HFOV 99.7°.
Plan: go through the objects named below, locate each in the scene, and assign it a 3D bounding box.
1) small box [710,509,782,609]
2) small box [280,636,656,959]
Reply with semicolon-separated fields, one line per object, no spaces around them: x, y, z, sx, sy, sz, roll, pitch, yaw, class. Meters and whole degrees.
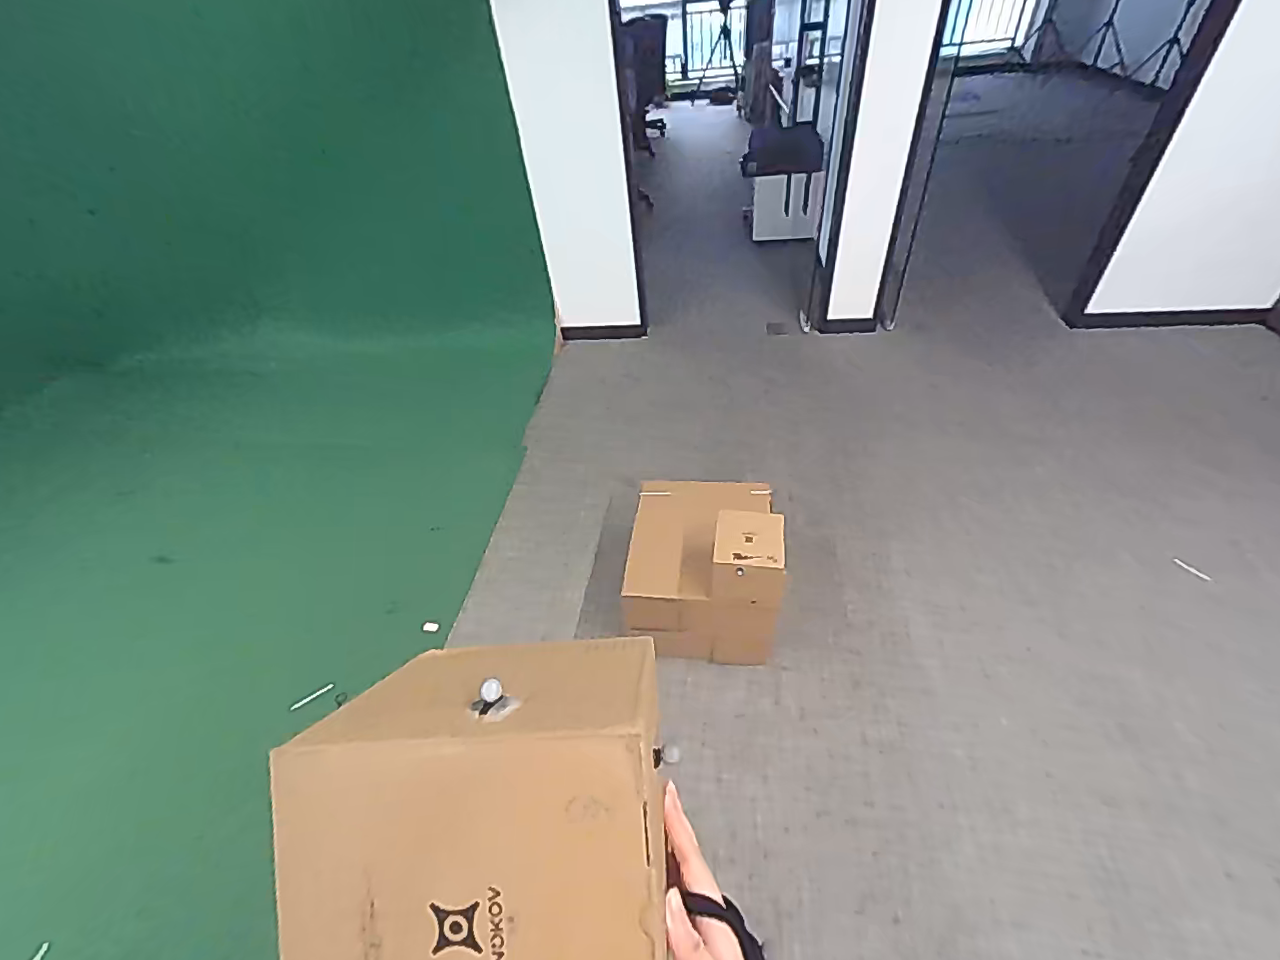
0.267;0.198;1.368;0.168;0.176;0.179;5;43;11;small box
-0.079;0.199;0.334;0.179;0.176;0.168;-3;88;3;small box
